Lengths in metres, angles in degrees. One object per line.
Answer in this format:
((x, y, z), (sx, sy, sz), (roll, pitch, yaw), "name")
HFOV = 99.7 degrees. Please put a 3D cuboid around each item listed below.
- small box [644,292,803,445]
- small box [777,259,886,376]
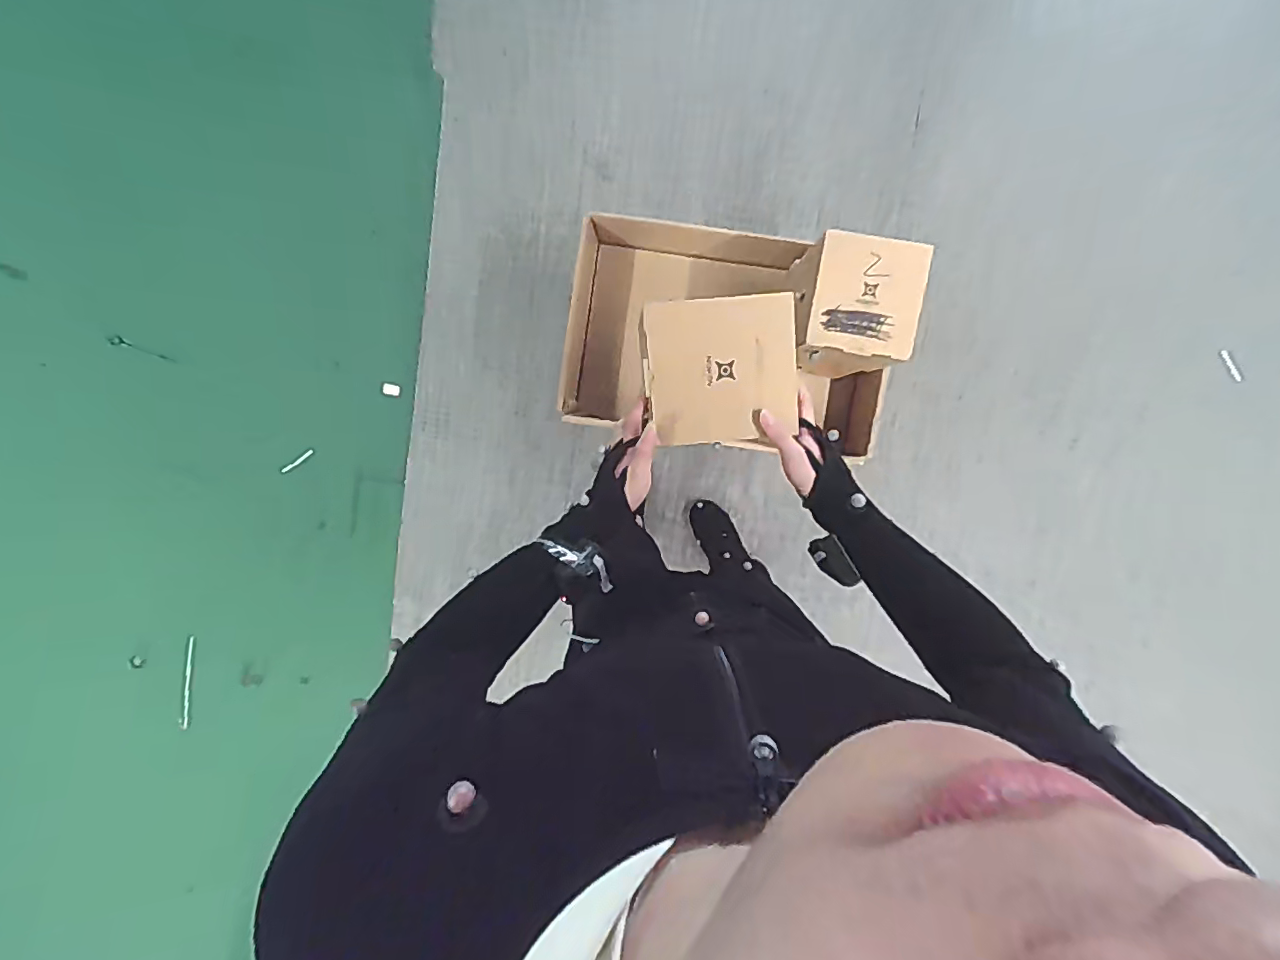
((0.096, -0.137, 0.696), (0.179, 0.176, 0.168), (-5, 99, -1), "small box")
((0.353, -0.309, 1.061), (0.168, 0.176, 0.179), (10, 96, 1), "small box")
